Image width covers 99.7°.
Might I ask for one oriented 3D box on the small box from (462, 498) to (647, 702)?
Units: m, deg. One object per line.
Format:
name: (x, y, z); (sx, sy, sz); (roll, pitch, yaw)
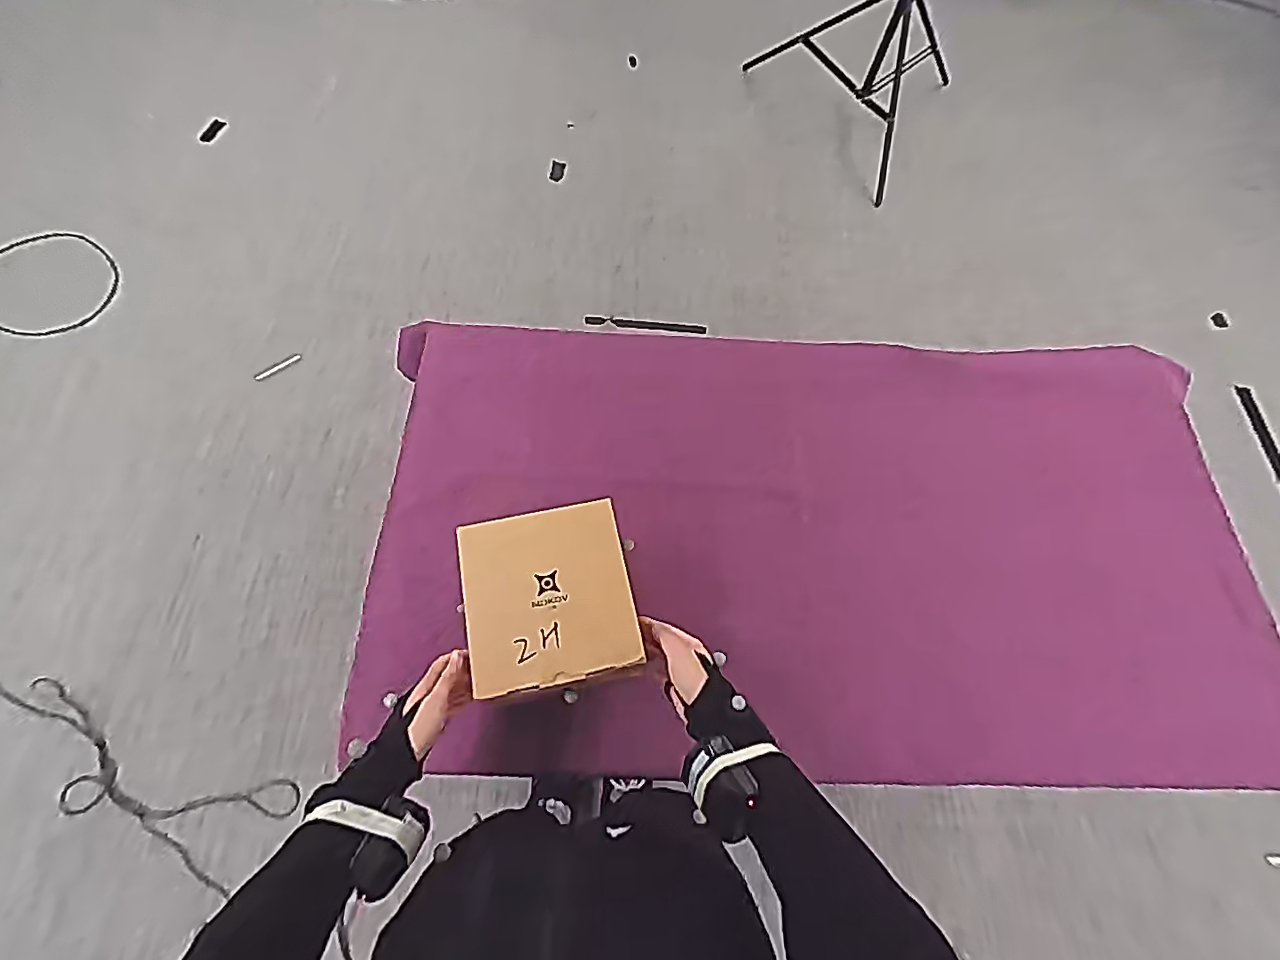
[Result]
small box: (-0.094, 0.142, 0.614); (0.168, 0.176, 0.179); (-11, 67, -7)
